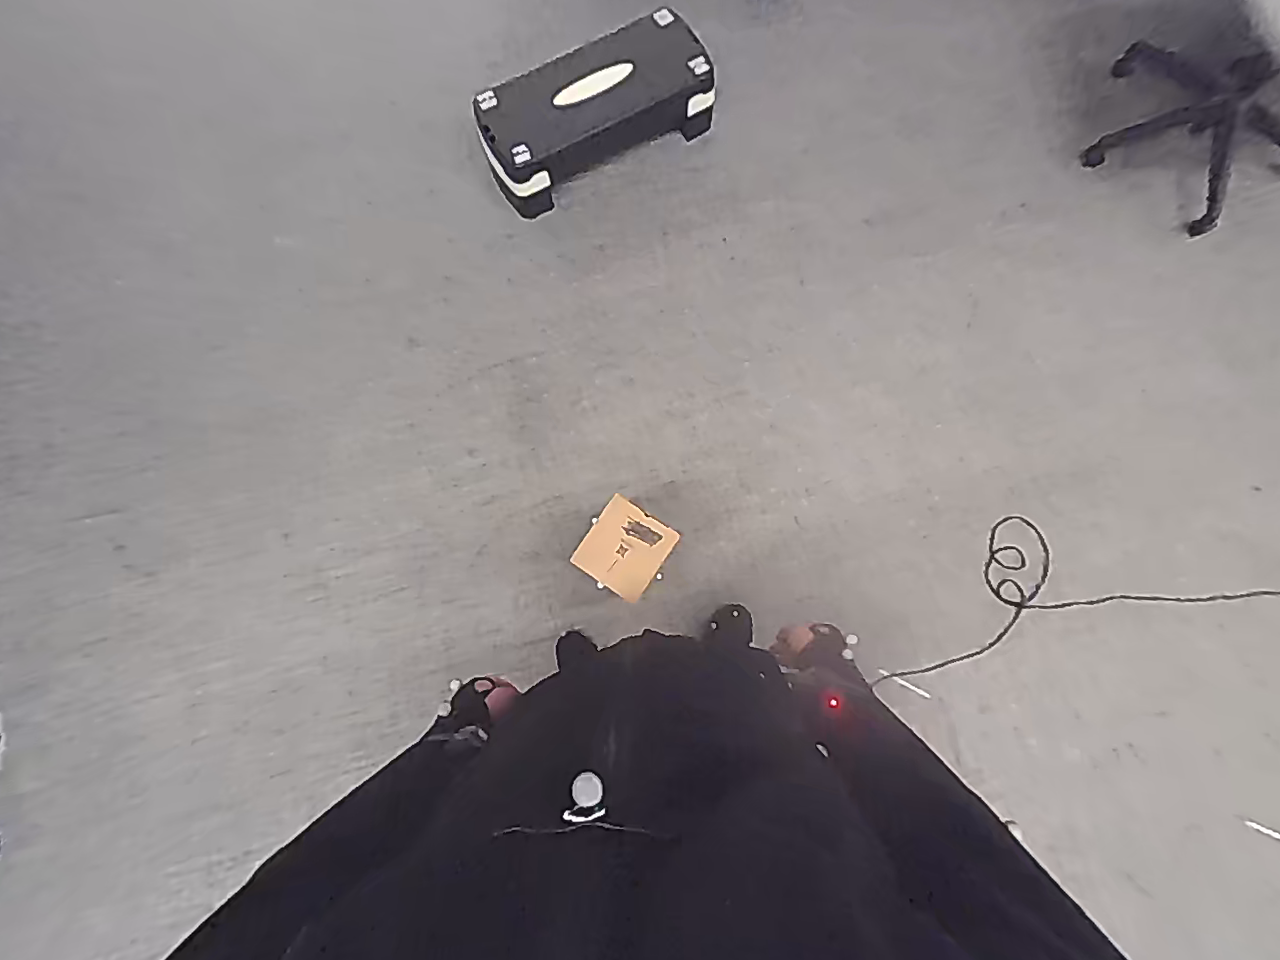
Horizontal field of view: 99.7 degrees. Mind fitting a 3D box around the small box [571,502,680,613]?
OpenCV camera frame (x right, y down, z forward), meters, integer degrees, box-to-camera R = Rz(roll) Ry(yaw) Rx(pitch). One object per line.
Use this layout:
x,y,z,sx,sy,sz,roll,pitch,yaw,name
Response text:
-0.031,0.174,1.203,0.168,0.176,0.179,34,82,7,small box
